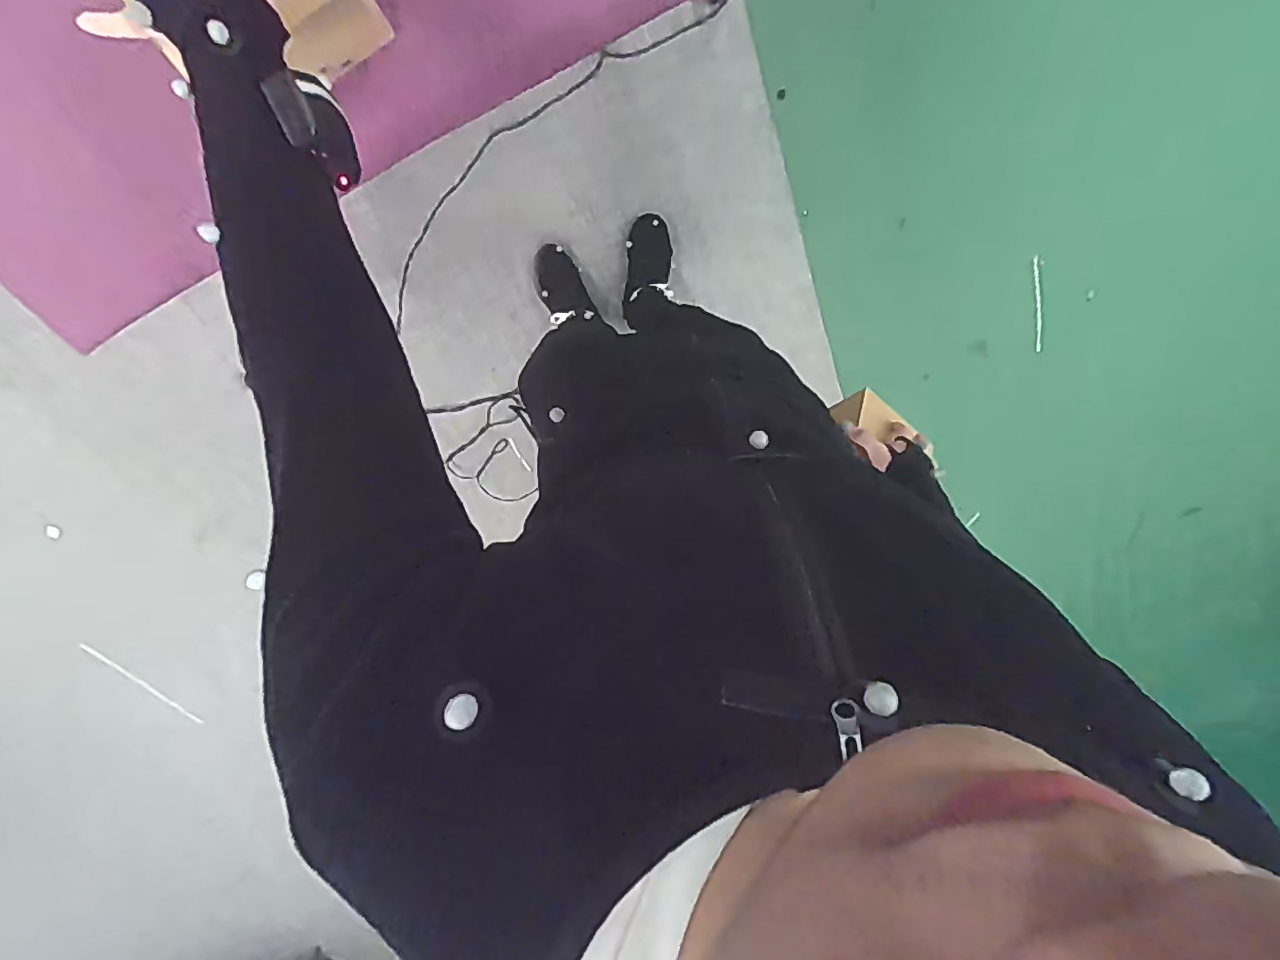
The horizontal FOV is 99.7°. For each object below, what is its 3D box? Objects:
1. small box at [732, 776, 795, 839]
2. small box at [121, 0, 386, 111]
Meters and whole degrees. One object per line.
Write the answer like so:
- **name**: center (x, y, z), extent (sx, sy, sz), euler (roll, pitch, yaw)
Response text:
- **small box**: center (0.445, 1.195, 1.920), extent (0.168, 0.176, 0.179), euler (-24, 118, 2)
- **small box**: center (-0.371, -0.478, 0.493), extent (0.168, 0.176, 0.179), euler (-30, 119, 6)
